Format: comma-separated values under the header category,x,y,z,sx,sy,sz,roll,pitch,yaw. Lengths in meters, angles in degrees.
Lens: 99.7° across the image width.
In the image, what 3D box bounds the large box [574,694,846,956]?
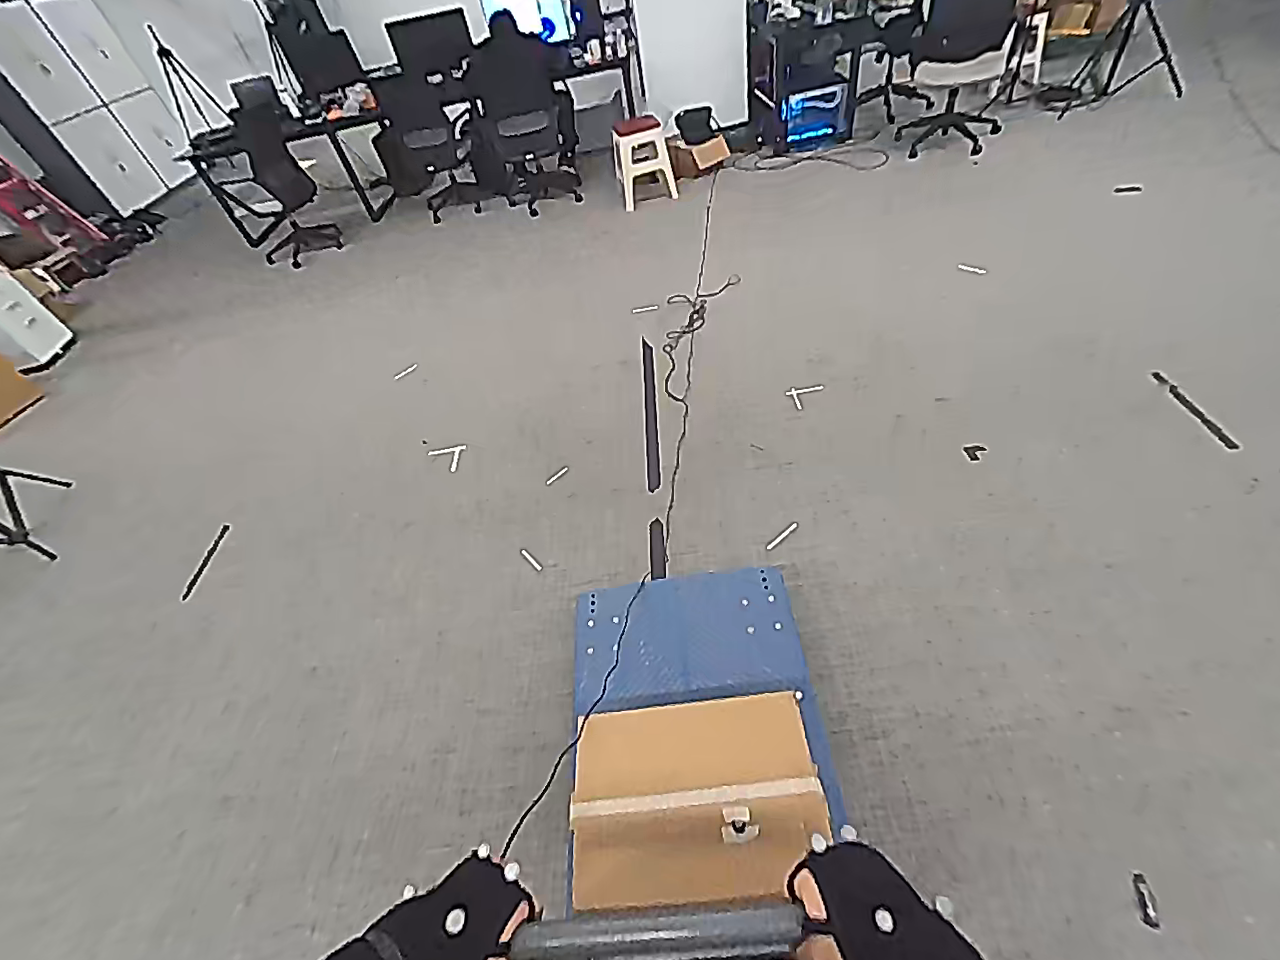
category,x,y,z,sx,sy,sz,roll,pitch,yaw
large box,0.112,0.628,0.980,0.408,0.320,0.320,-9,45,5
